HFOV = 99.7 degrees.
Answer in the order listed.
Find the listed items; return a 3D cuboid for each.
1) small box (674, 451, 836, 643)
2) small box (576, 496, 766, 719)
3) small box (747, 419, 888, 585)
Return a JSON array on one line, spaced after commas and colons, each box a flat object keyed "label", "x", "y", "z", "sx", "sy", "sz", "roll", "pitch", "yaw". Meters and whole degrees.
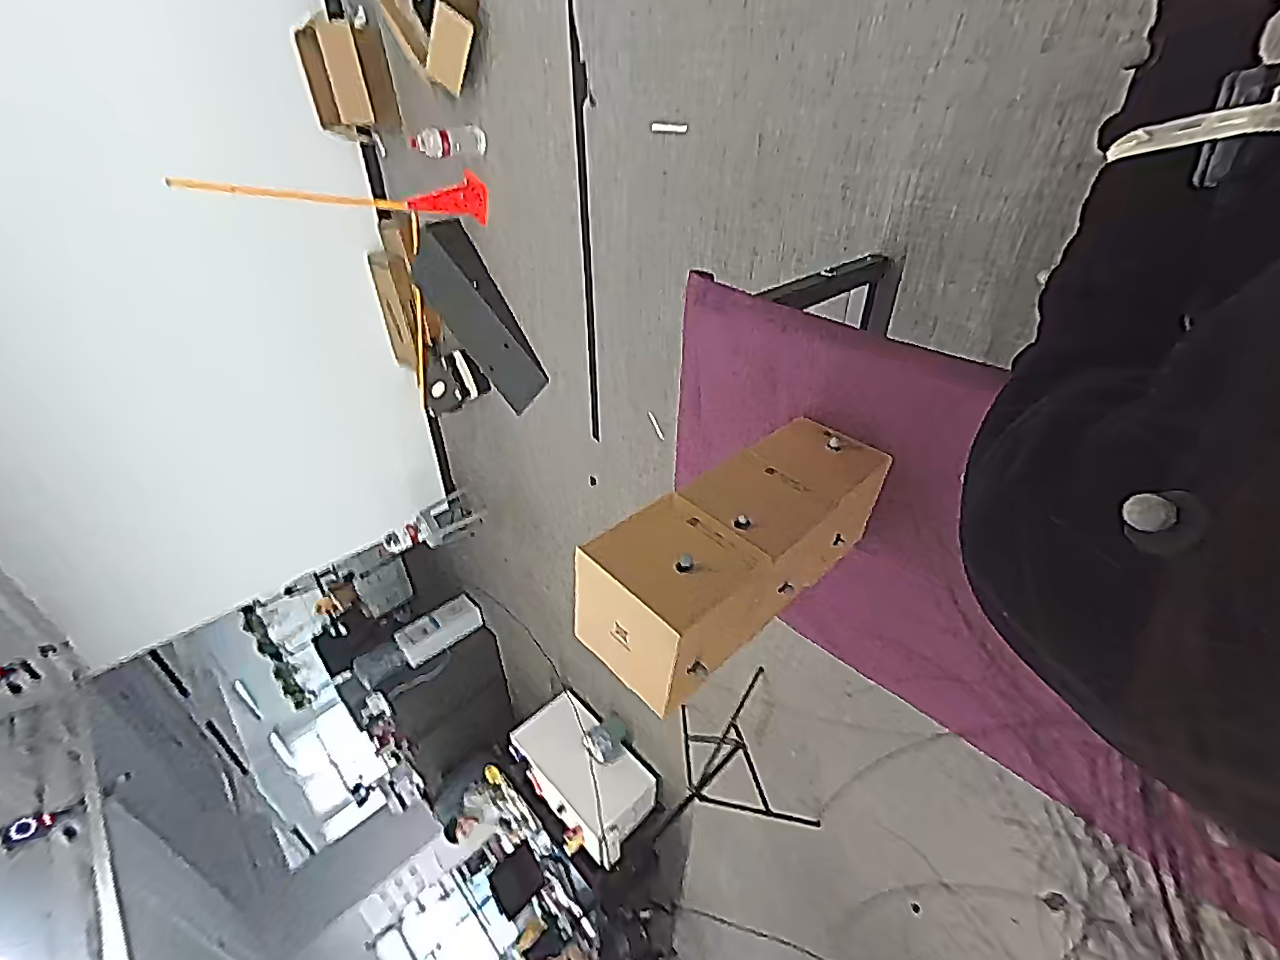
[{"label": "small box", "x": 0.154, "y": 0.090, "z": 0.778, "sx": 0.168, "sy": 0.176, "sz": 0.179, "roll": 34, "pitch": 138, "yaw": 32}, {"label": "small box", "x": 0.037, "y": 0.149, "z": 0.680, "sx": 0.168, "sy": 0.176, "sz": 0.179, "roll": 34, "pitch": 137, "yaw": 32}, {"label": "small box", "x": 0.272, "y": 0.029, "z": 0.875, "sx": 0.168, "sy": 0.176, "sz": 0.179, "roll": 33, "pitch": 136, "yaw": 33}]
